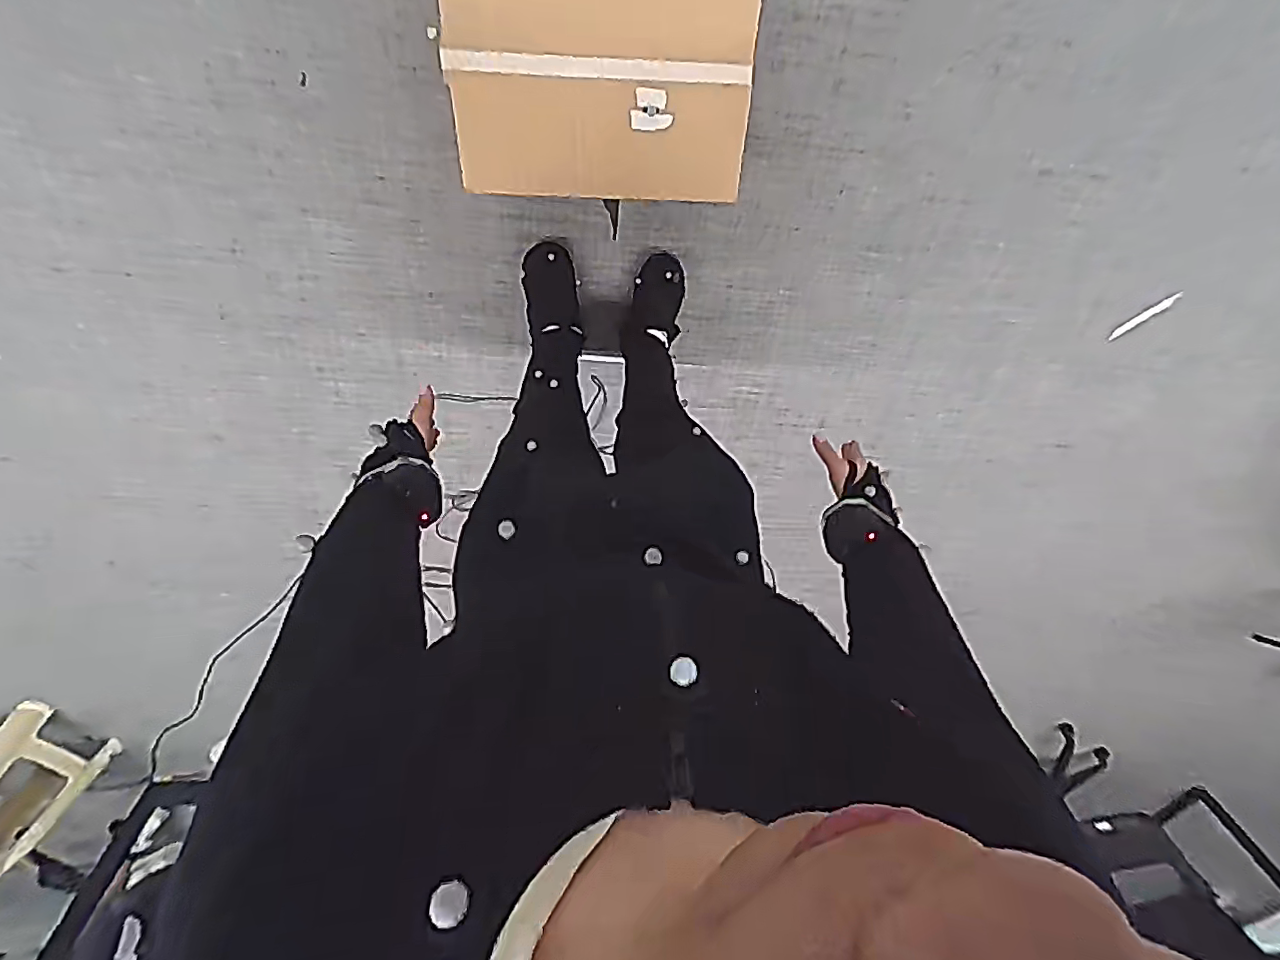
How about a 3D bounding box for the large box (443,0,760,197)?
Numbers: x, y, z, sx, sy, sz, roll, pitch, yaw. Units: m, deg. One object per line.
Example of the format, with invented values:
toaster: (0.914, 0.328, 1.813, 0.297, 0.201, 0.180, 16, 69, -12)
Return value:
large box: (-0.062, -0.633, 0.834, 0.408, 0.320, 0.320, -1, 126, -6)
